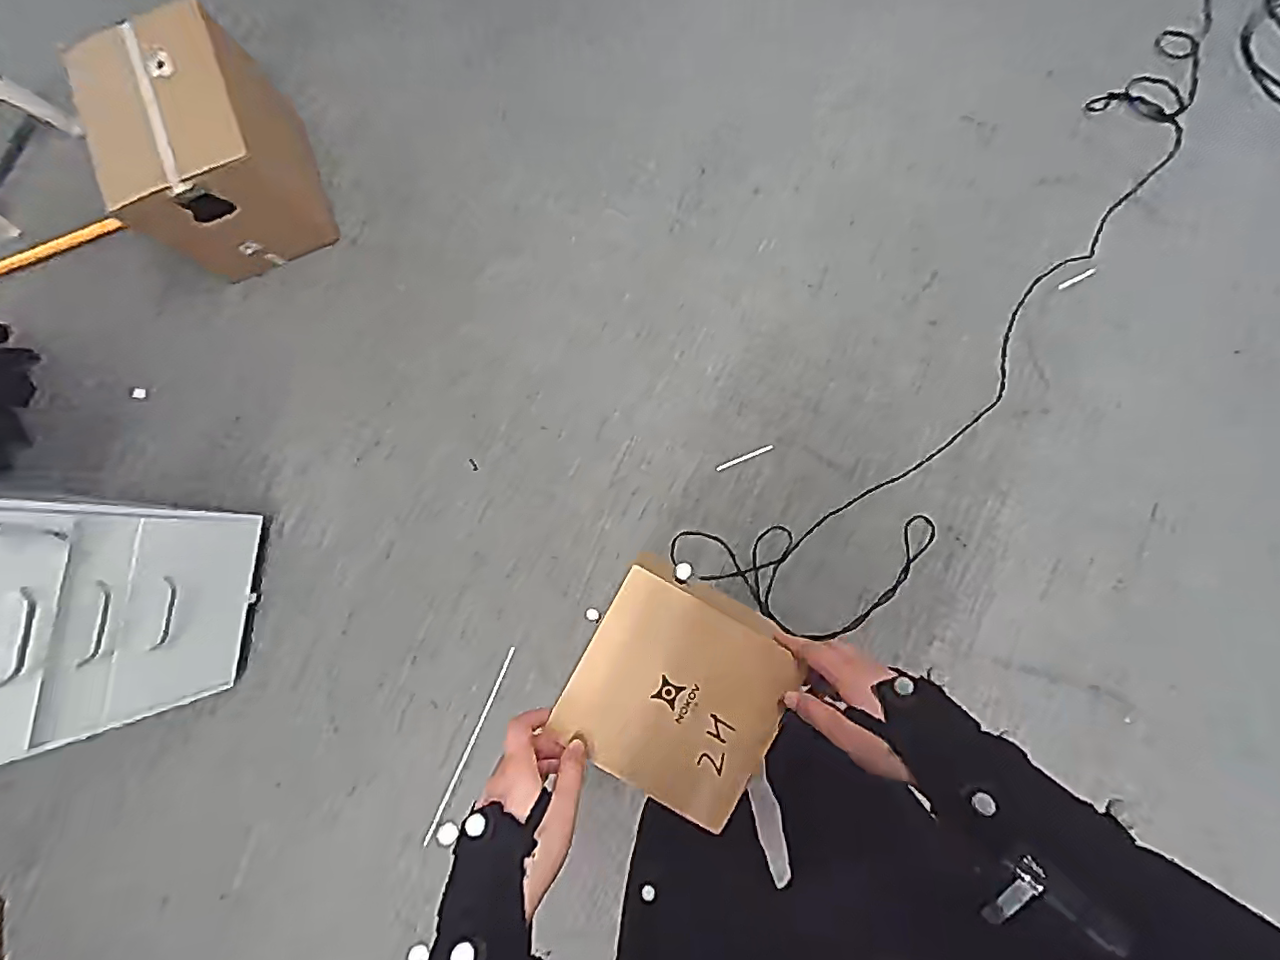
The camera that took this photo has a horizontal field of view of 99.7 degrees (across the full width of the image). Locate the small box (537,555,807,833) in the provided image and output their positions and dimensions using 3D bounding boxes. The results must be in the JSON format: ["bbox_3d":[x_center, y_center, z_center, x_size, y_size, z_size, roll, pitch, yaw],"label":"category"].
[{"bbox_3d":[0.030,0.186,0.533,0.179,0.176,0.168,30,90,3],"label":"small box"}]
